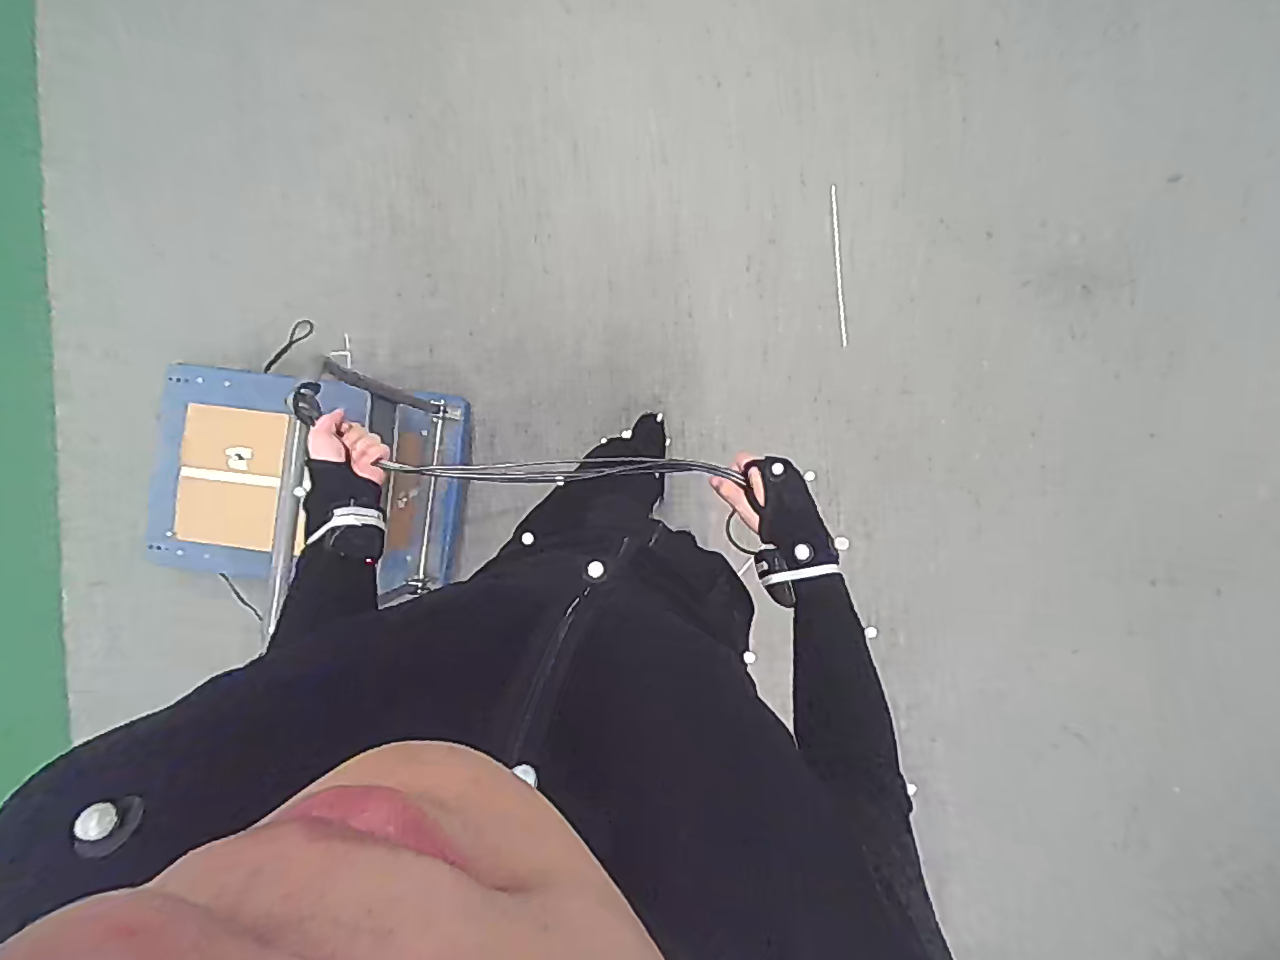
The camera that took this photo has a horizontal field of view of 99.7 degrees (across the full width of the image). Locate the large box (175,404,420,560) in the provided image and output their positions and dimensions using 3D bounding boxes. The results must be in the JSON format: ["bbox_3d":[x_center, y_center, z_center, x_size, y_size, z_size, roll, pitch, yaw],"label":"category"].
[{"bbox_3d":[-0.816,0.002,1.341,0.408,0.320,0.320,7,90,3],"label":"large box"}]
